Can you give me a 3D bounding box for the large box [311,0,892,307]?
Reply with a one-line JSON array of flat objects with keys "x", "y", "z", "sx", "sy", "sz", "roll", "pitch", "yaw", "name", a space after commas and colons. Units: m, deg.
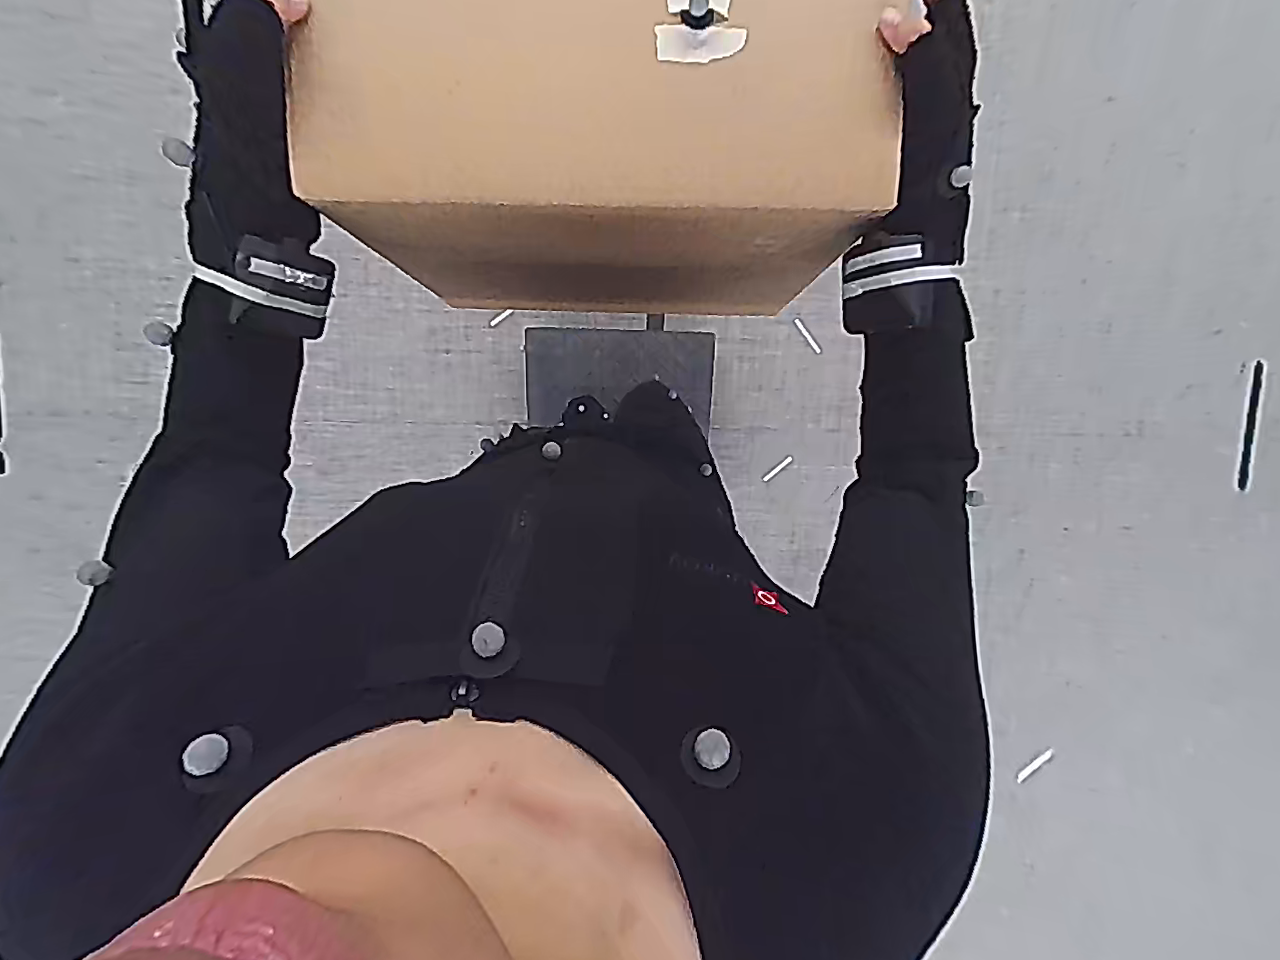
[{"x": -0.027, "y": -0.359, "z": 0.516, "sx": 0.408, "sy": 0.320, "sz": 0.320, "roll": 1, "pitch": 95, "yaw": -1, "name": "large box"}]
